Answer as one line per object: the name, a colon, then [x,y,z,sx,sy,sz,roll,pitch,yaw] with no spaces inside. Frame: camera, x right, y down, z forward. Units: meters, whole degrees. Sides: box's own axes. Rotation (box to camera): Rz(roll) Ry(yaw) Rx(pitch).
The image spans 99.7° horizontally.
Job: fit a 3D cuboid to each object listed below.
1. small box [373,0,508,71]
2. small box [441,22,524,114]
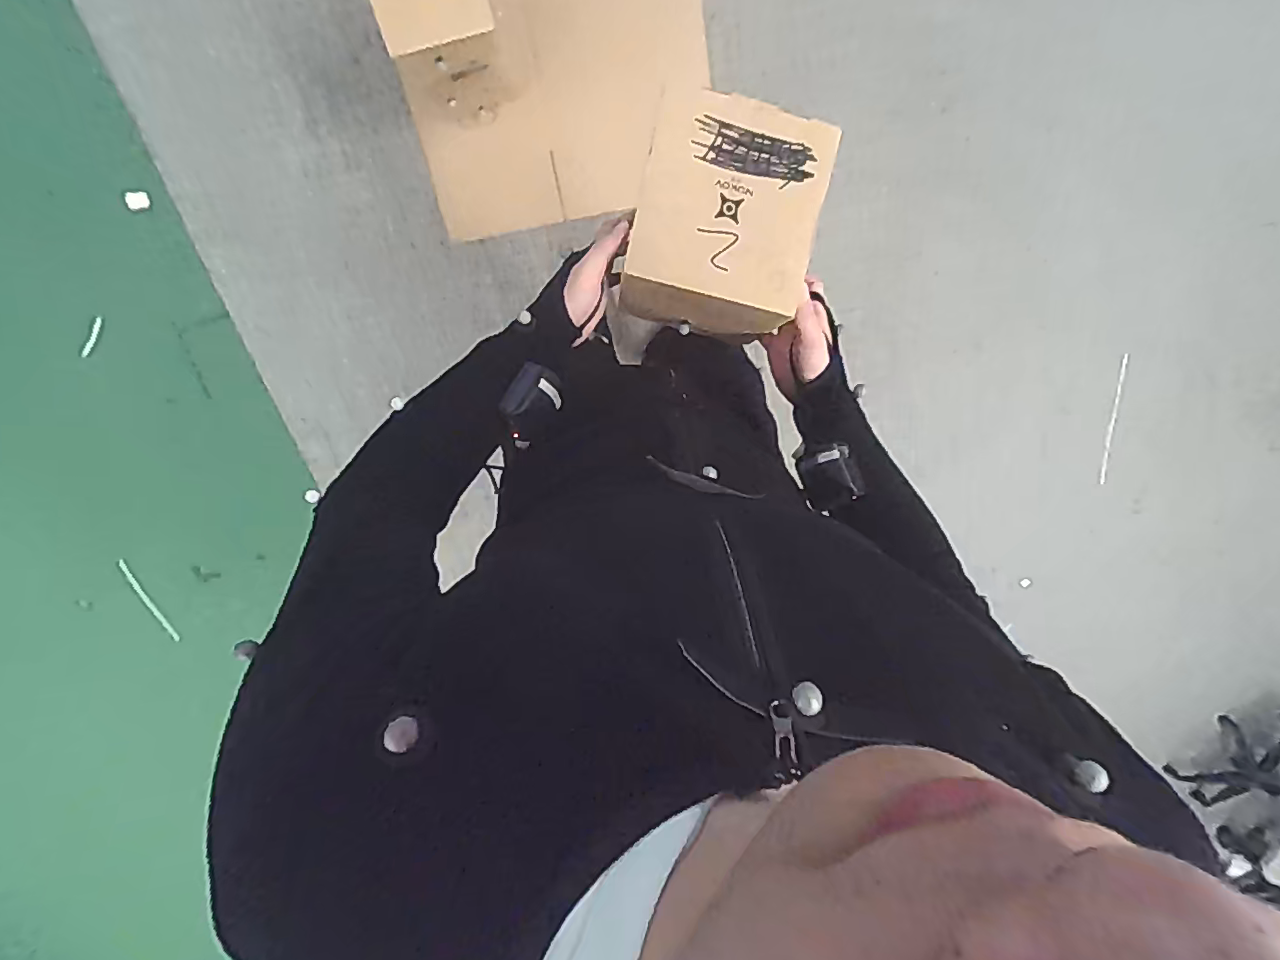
small box: [-0.313,-0.757,0.827,0.168,0.176,0.179,-15,115,1]
small box: [-0.352,-0.894,1.120,0.168,0.176,0.179,-18,116,2]
